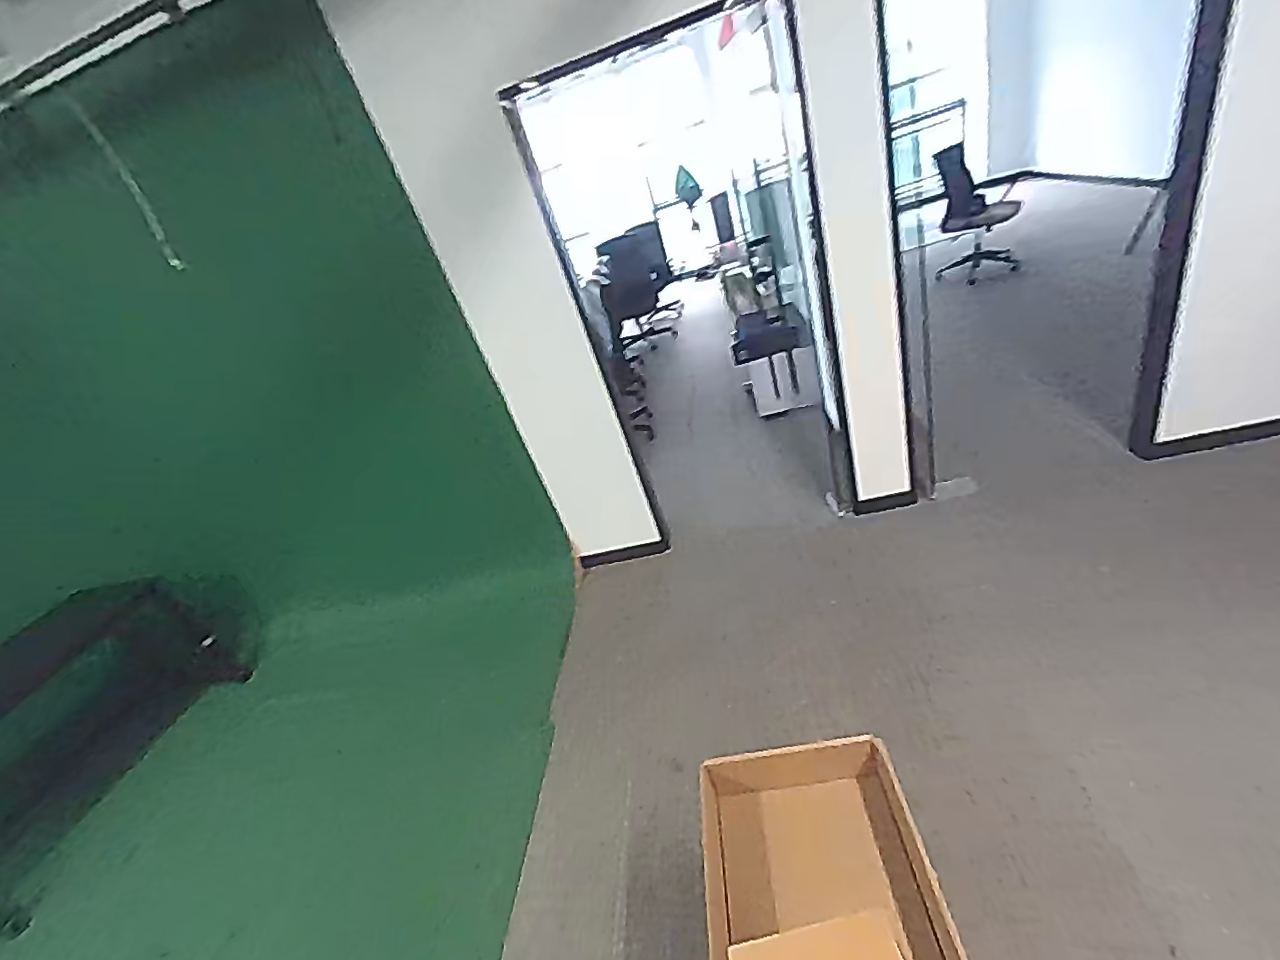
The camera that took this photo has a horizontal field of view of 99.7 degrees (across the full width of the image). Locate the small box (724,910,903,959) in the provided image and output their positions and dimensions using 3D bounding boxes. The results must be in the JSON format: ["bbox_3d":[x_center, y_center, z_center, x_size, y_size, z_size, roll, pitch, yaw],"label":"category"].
[{"bbox_3d":[0.198,0.581,0.531,0.179,0.176,0.168,-13,23,-2],"label":"small box"}]
